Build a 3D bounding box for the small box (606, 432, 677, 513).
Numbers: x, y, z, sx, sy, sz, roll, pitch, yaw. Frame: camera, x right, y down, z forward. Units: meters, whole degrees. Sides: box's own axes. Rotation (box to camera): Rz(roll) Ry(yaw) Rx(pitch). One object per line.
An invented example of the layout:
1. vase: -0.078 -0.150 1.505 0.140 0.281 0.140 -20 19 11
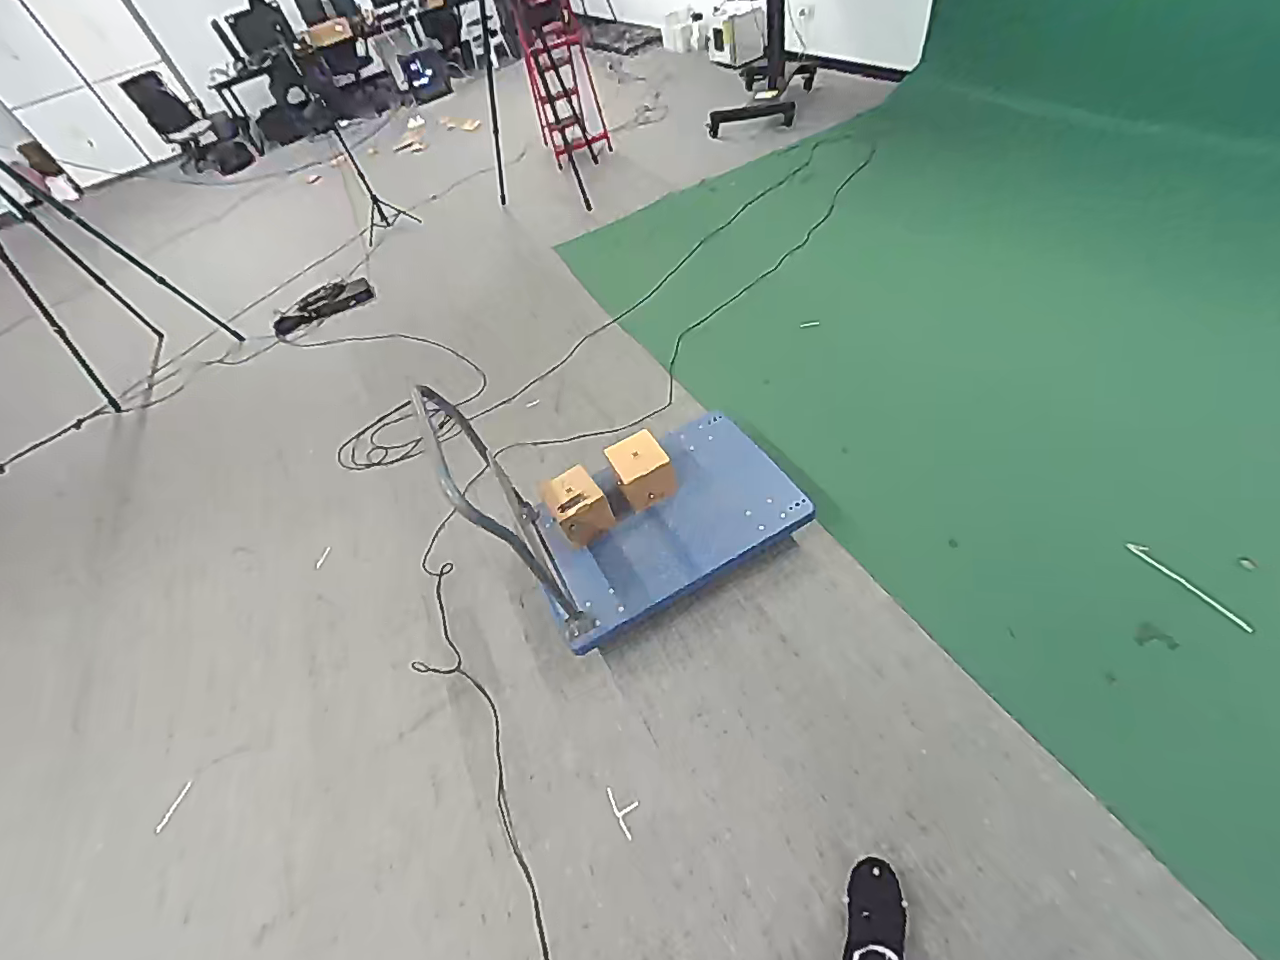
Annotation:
1. small box: 0.008 -0.023 1.805 0.168 0.176 0.179 -28 51 -9
